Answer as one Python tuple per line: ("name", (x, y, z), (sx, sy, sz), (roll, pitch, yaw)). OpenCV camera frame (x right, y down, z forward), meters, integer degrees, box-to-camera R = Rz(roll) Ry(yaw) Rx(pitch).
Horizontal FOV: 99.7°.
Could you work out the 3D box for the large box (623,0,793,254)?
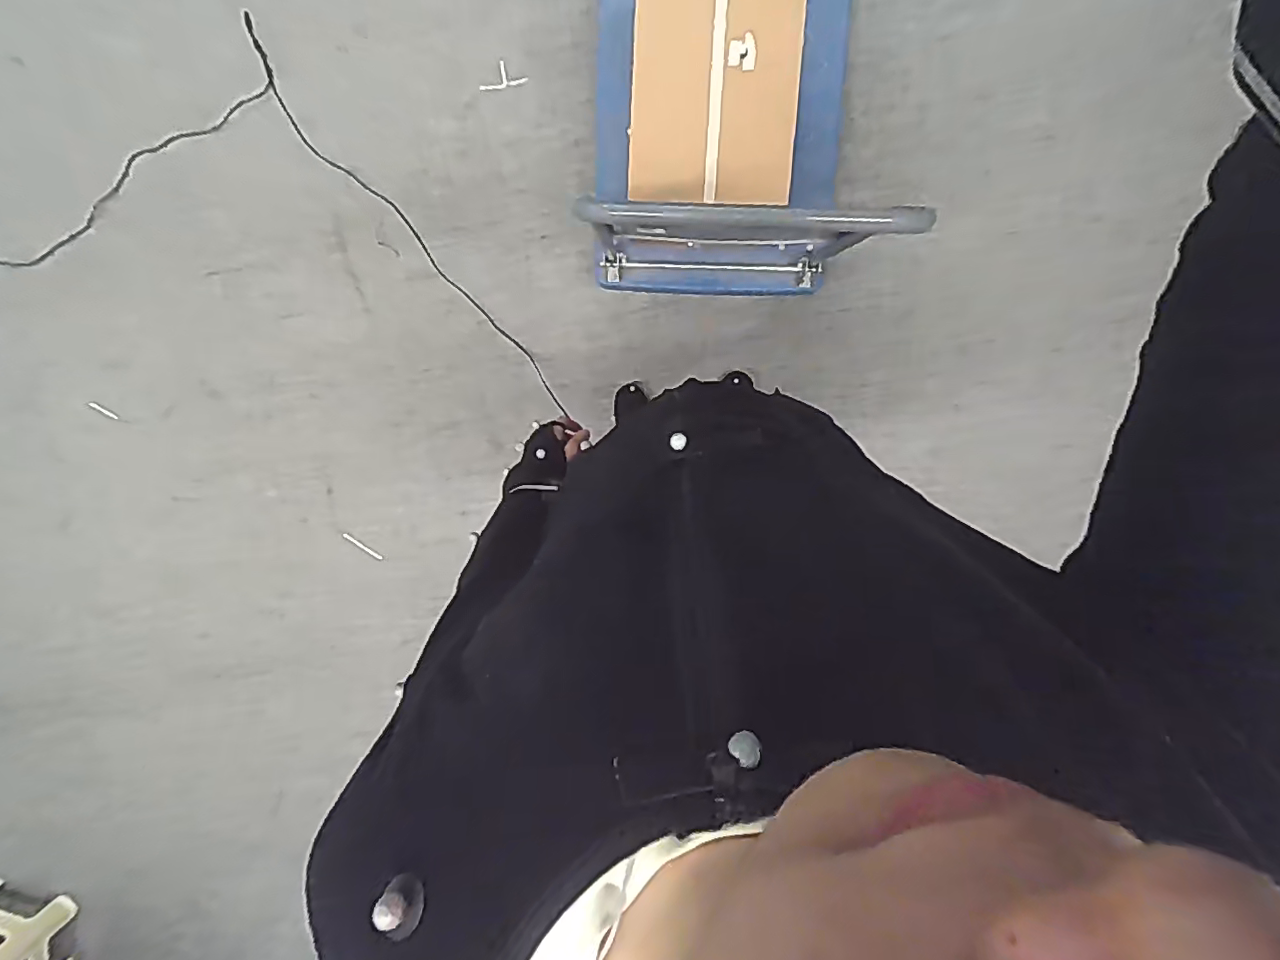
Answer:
("large box", (0.134, -0.741, 1.184), (0.320, 0.320, 0.408), (3, 99, 1))
